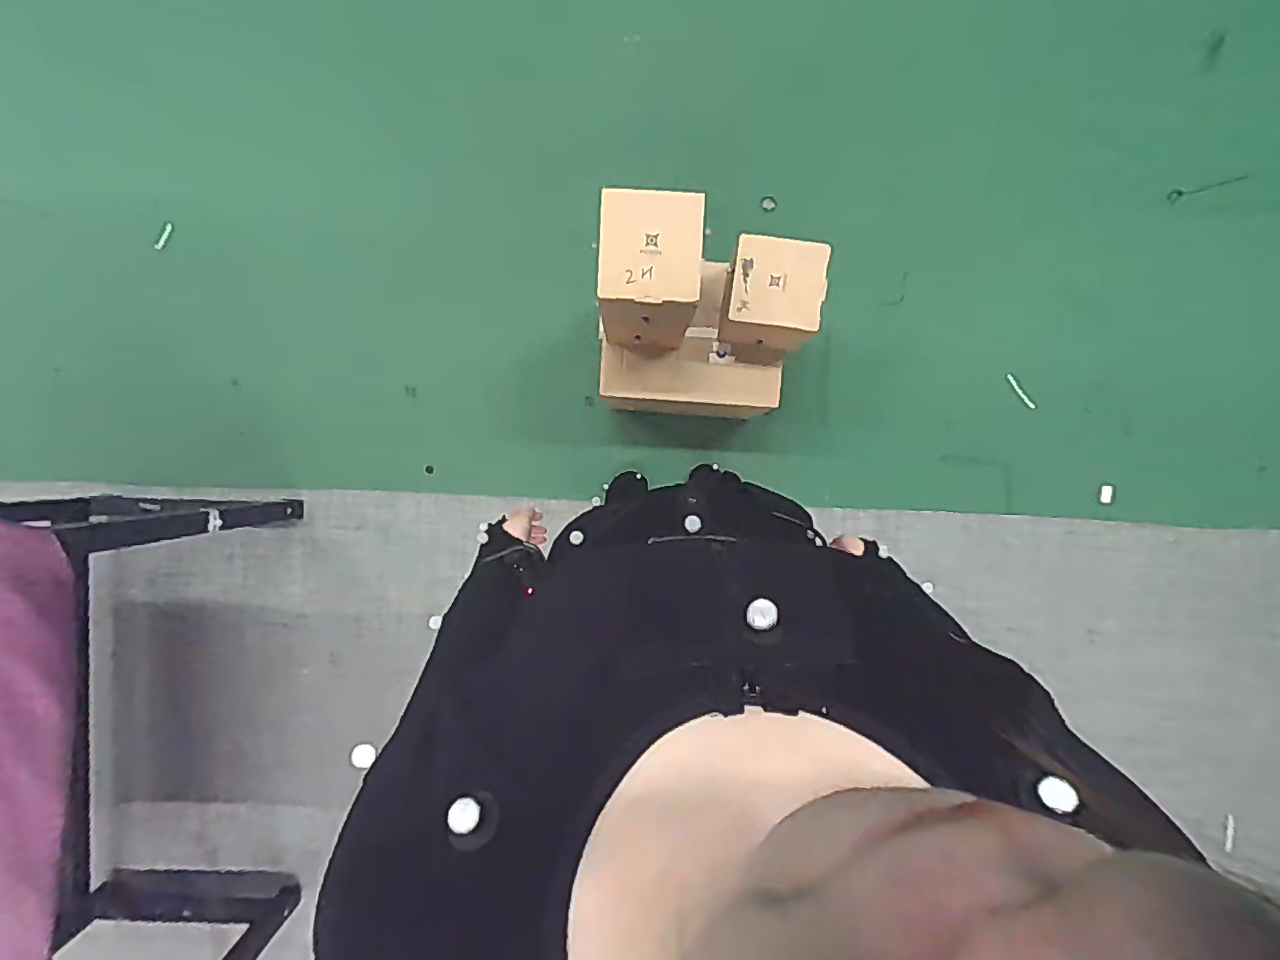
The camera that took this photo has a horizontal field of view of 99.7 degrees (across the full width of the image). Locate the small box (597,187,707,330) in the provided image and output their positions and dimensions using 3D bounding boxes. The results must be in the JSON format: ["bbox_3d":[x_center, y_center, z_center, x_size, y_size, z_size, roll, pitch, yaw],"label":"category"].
[{"bbox_3d":[0.018,-0.369,0.925,0.168,0.176,0.179,3,92,0],"label":"small box"}]

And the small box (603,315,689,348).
[{"bbox_3d":[0.017,-0.376,1.090,0.168,0.176,0.179,4,92,0],"label":"small box"}]

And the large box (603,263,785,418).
[{"bbox_3d":[0.121,-0.326,1.333,0.408,0.320,0.320,4,92,0],"label":"large box"}]

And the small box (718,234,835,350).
[{"bbox_3d":[0.265,-0.366,1.085,0.179,0.176,0.168,9,91,1],"label":"small box"}]
